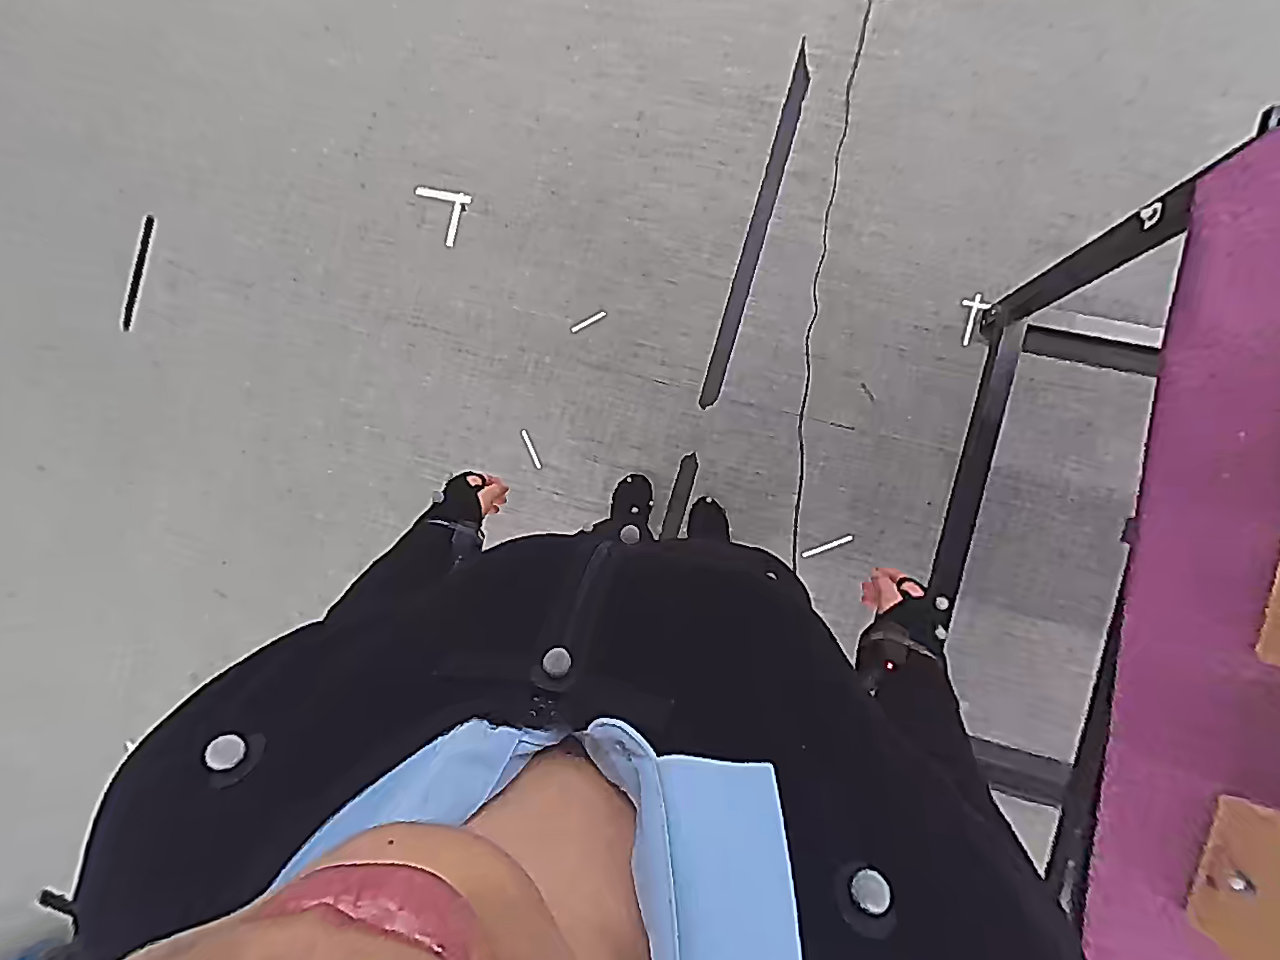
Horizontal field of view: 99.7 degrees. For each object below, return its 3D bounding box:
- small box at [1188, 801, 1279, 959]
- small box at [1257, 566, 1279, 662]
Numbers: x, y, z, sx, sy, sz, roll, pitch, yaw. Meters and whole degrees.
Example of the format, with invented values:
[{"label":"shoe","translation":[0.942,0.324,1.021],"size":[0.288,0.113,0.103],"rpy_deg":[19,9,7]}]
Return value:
[{"label":"small box","translation":[0.779,0.491,0.587],"size":[0.179,0.176,0.168],"rpy_deg":[16,90,6]},{"label":"small box","translation":[0.866,0.161,0.588],"size":[0.179,0.176,0.168],"rpy_deg":[14,91,7]}]
